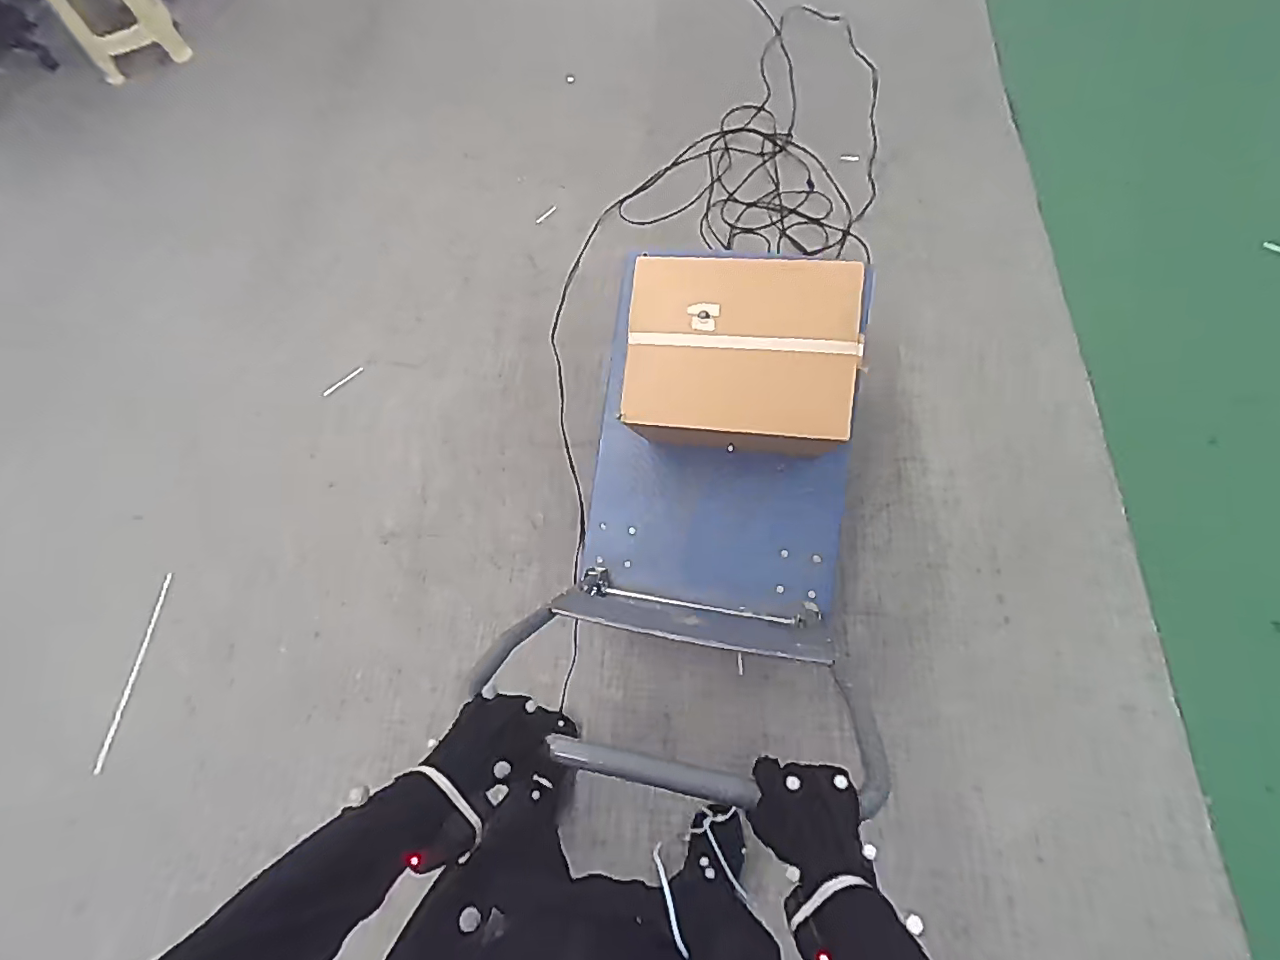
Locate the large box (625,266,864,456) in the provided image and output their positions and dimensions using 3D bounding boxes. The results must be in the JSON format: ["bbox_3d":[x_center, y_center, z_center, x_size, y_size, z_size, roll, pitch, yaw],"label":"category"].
[{"bbox_3d":[0.210,-0.221,1.102,0.408,0.320,0.320,5,88,12],"label":"large box"}]
